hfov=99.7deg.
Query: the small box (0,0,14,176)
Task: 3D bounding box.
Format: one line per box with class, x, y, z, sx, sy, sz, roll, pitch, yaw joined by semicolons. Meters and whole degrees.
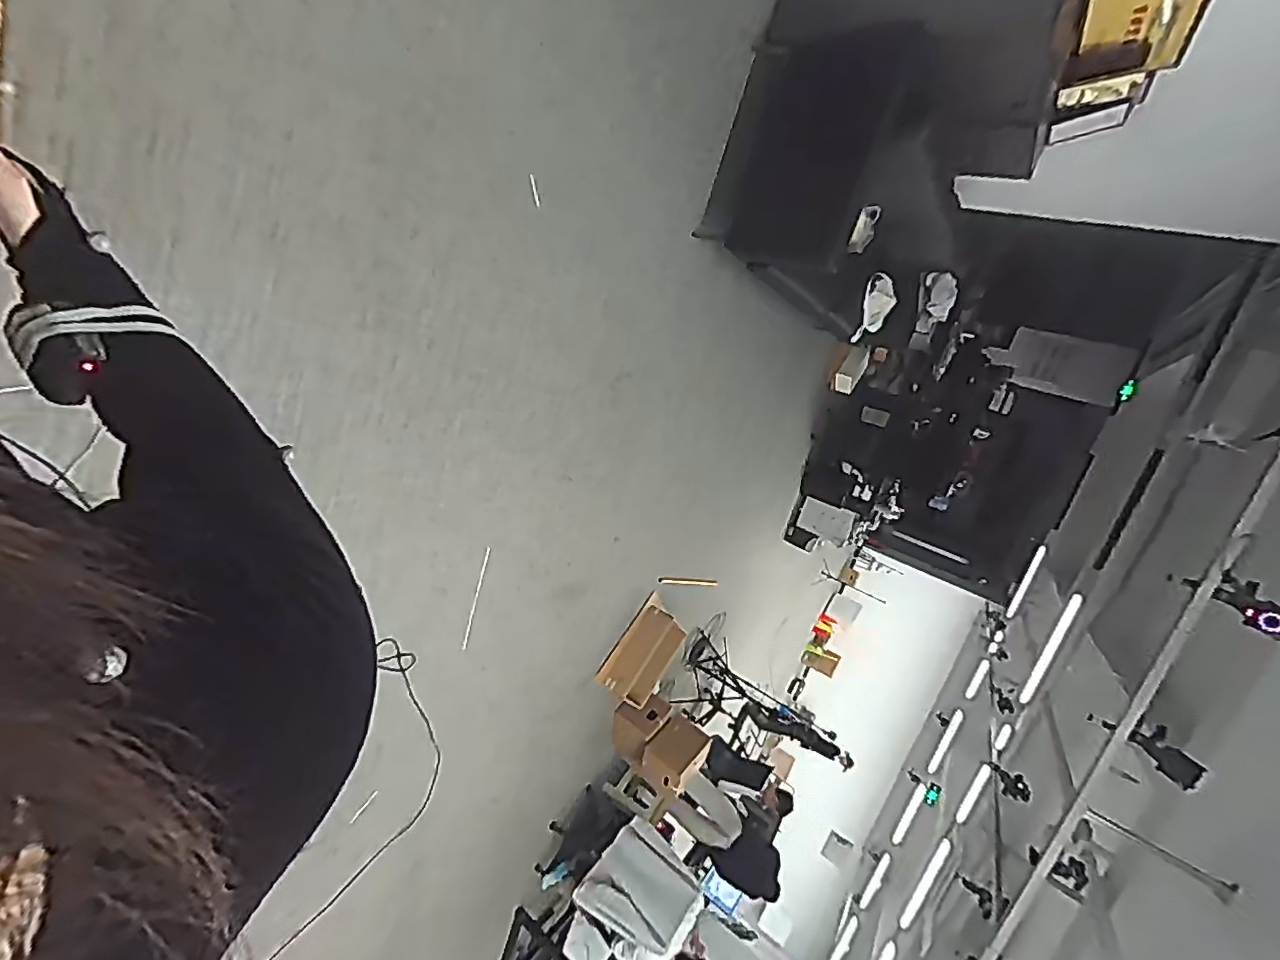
small box;-0.573;-0.314;0.371;0.168;0.176;0.179;-1;109;-58
